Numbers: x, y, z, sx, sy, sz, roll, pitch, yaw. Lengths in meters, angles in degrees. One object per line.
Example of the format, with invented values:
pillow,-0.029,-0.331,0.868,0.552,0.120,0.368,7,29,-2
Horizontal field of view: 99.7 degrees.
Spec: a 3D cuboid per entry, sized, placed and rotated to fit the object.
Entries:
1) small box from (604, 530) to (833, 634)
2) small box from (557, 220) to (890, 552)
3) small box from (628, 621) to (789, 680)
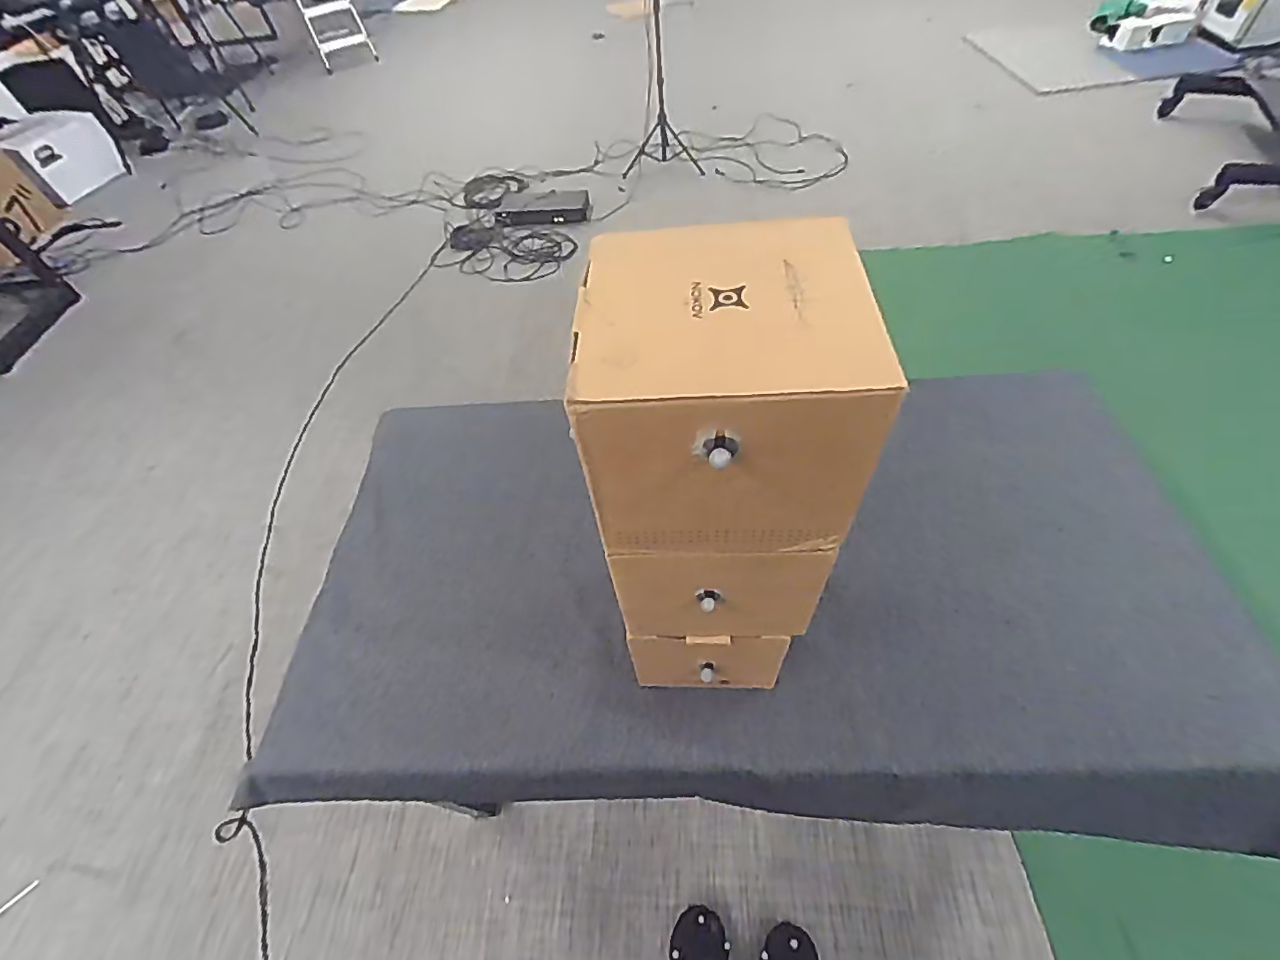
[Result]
small box,0.069,0.039,0.518,0.179,0.176,0.168,-4,53,7
small box,0.051,-0.058,0.390,0.179,0.176,0.168,-3,54,5
small box,0.081,0.134,0.652,0.168,0.176,0.179,-3,54,6
